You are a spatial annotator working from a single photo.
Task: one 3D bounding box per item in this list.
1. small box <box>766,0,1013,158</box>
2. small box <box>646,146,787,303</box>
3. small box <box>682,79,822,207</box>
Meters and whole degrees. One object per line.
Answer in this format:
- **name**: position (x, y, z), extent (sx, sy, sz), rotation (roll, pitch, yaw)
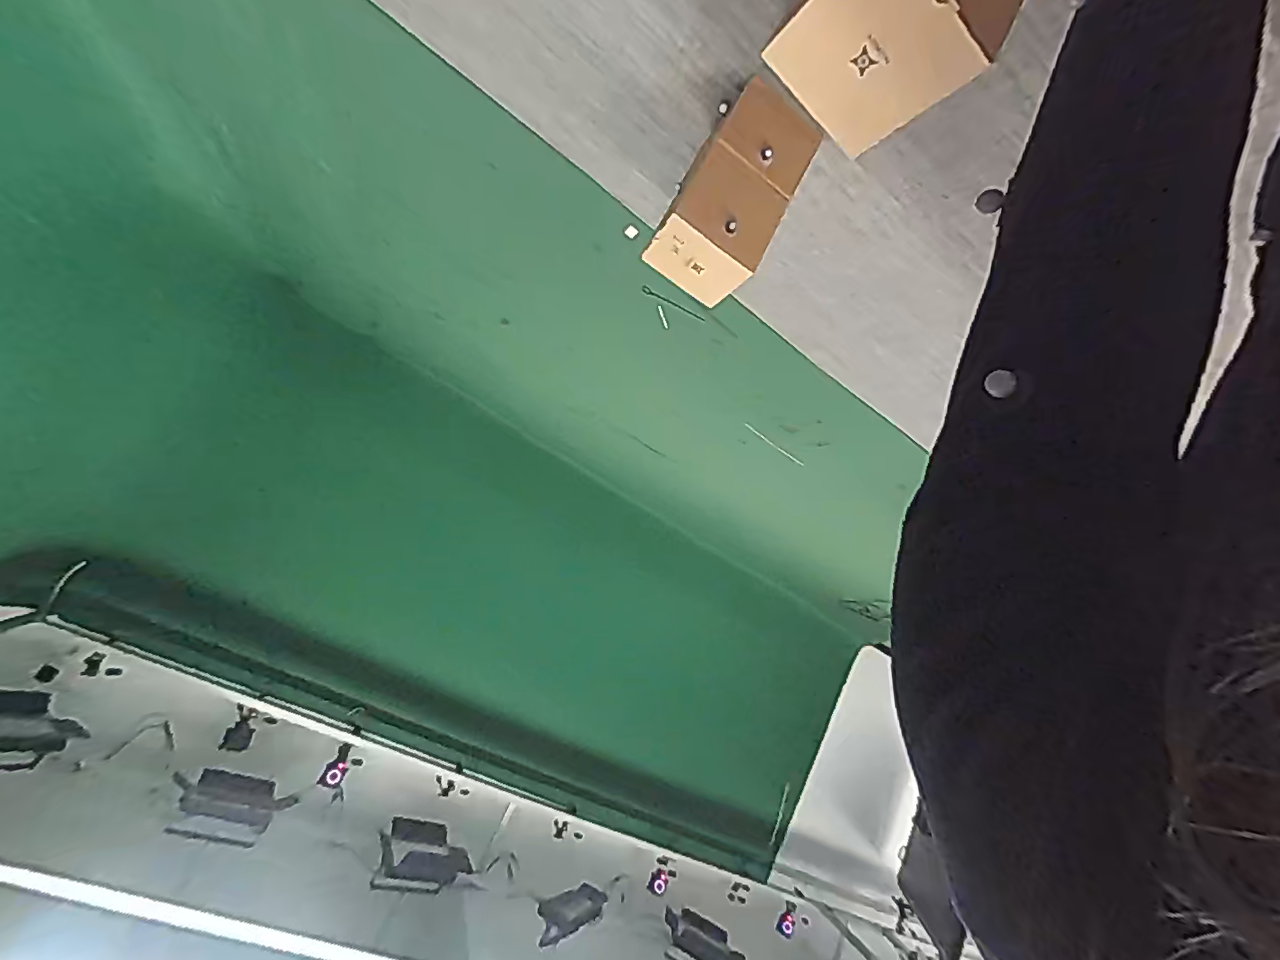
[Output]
- **small box**: position (0.279, -0.513, 0.590), extent (0.168, 0.176, 0.179), rotation (34, 166, -22)
- **small box**: position (0.146, -0.476, 1.022), extent (0.179, 0.176, 0.168), rotation (32, 166, -15)
- **small box**: position (0.220, -0.619, 1.055), extent (0.179, 0.176, 0.168), rotation (32, 166, -17)
